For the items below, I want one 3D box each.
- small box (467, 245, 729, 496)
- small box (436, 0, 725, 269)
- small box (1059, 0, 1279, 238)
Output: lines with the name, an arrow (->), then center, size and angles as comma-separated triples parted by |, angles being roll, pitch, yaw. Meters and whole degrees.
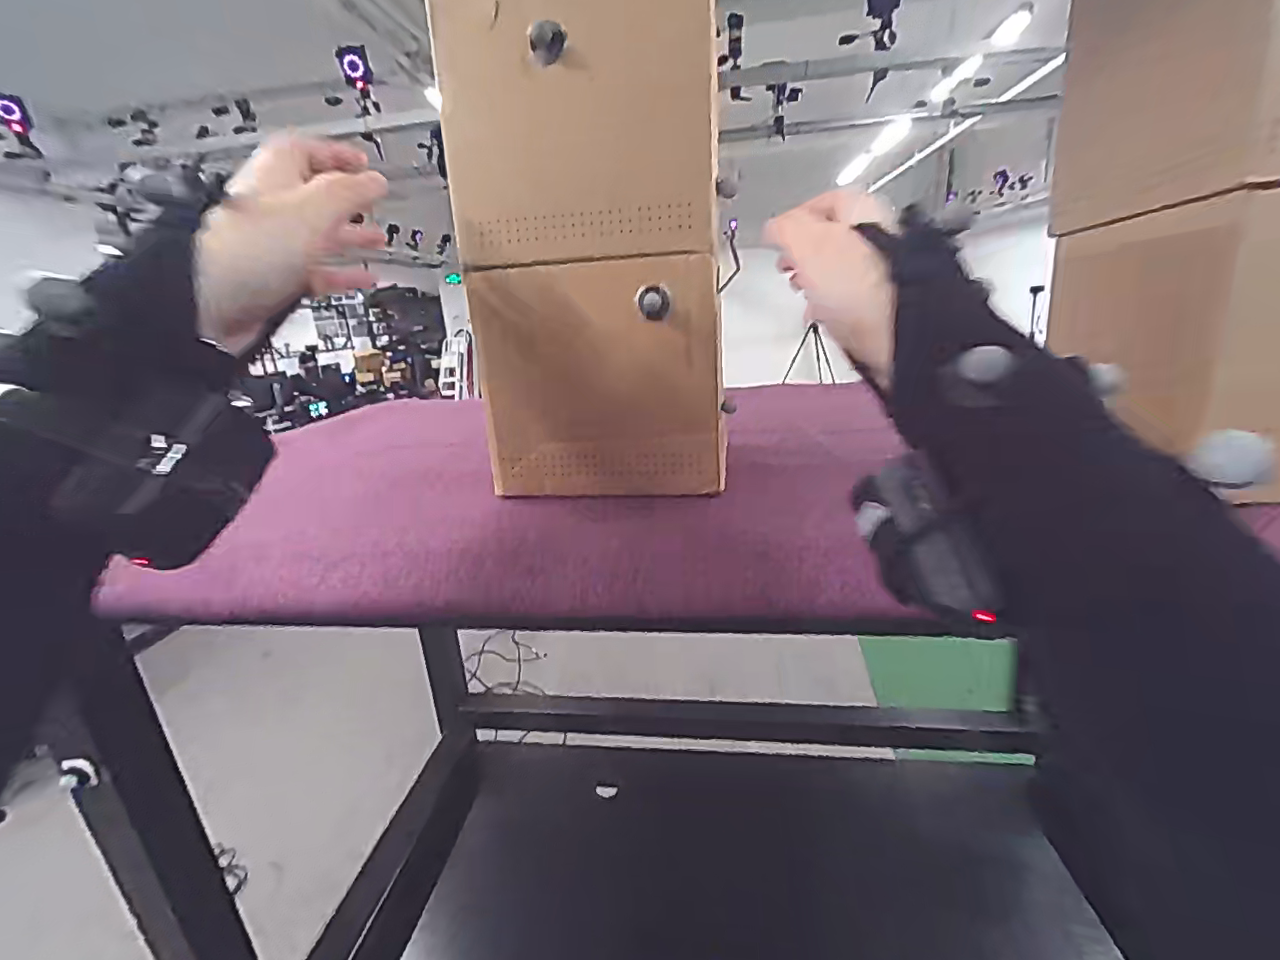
small box -> -0.017, -0.088, 0.451 | 0.179, 0.176, 0.168 | -1, 17, 9
small box -> -0.026, -0.246, 0.409 | 0.179, 0.176, 0.168 | 0, 17, 9
small box -> 0.380, -0.247, 0.306 | 0.168, 0.176, 0.179 | -2, 16, 10
